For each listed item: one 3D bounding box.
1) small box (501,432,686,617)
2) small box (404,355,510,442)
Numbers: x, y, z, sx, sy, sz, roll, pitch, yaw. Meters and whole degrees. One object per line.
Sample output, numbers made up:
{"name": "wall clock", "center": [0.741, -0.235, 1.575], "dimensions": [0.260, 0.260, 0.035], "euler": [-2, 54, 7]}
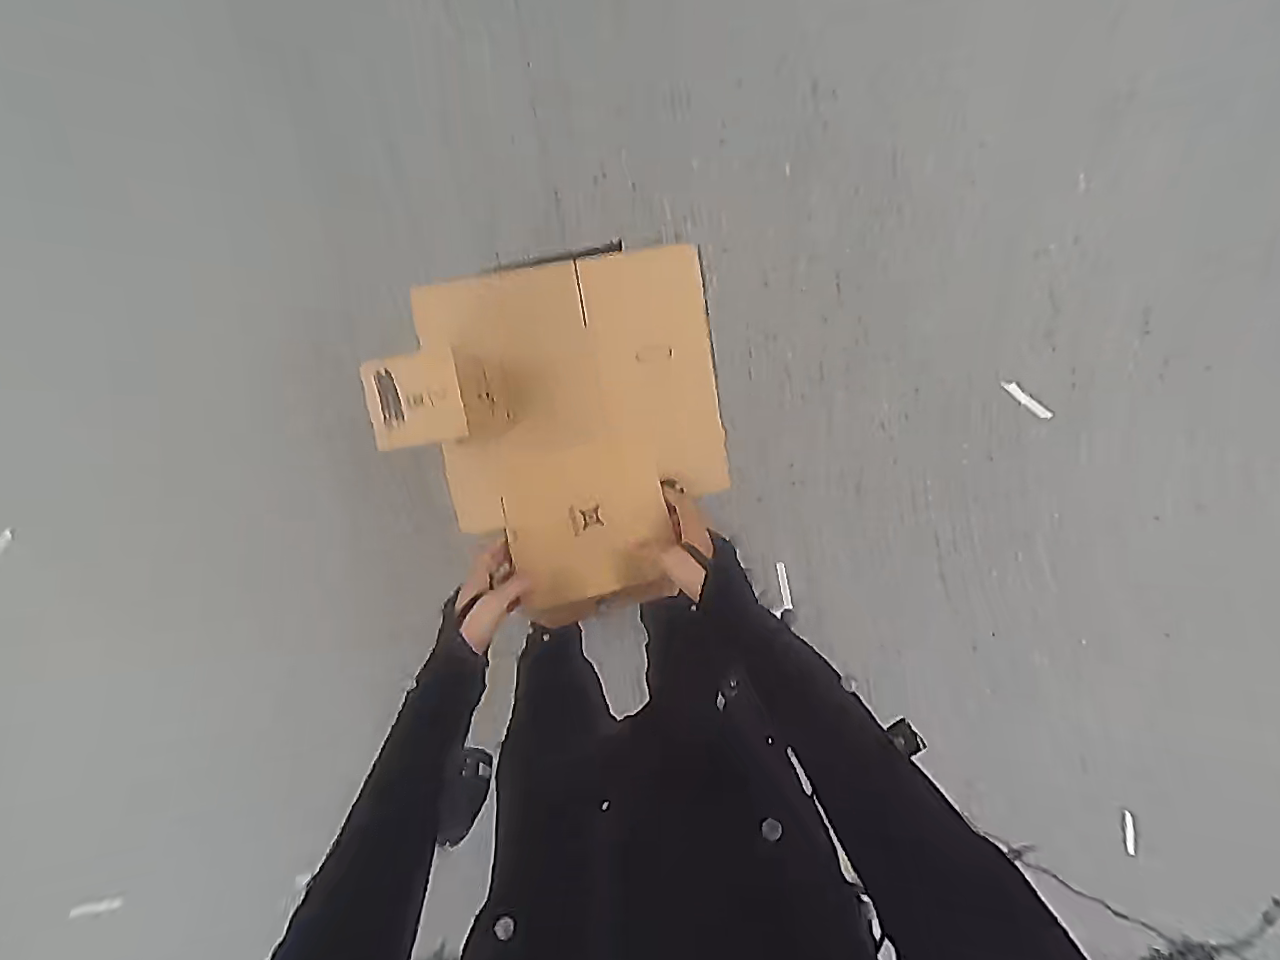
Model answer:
{"name": "small box", "center": [-0.052, 0.064, 0.662], "dimensions": [0.179, 0.176, 0.168], "euler": [-15, 72, -3]}
{"name": "small box", "center": [-0.405, -0.188, 1.234], "dimensions": [0.179, 0.176, 0.168], "euler": [-9, 99, 1]}
